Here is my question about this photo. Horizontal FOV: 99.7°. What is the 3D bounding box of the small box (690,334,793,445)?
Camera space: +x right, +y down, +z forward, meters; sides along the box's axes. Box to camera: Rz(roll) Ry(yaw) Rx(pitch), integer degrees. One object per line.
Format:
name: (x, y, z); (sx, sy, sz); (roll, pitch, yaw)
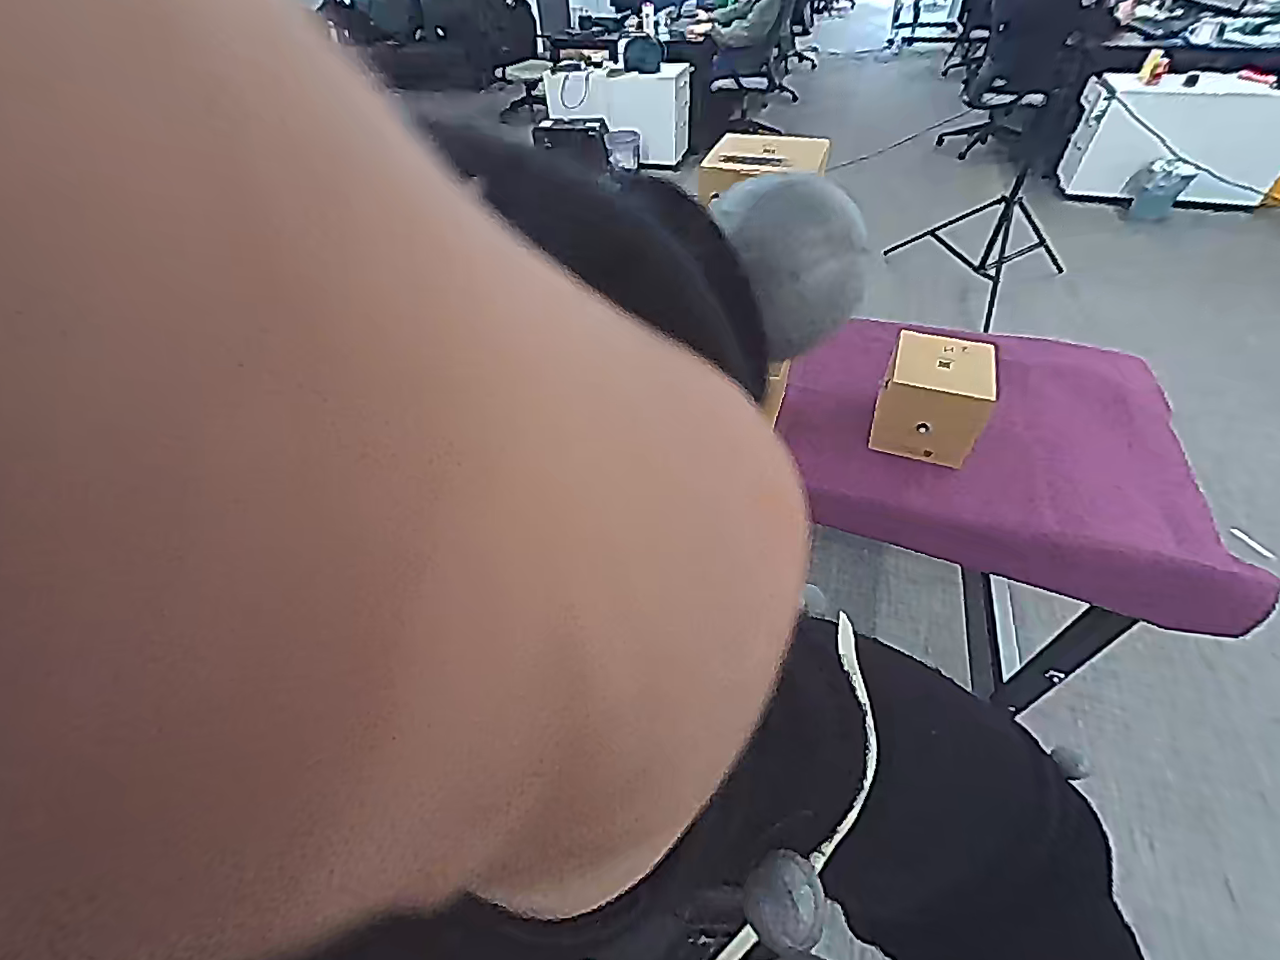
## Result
small box: (0.205, -0.195, 1.108); (0.168, 0.176, 0.179); (14, 49, 15)

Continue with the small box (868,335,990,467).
small box: (0.552, -0.151, 1.045); (0.168, 0.176, 0.179); (16, 50, 16)
